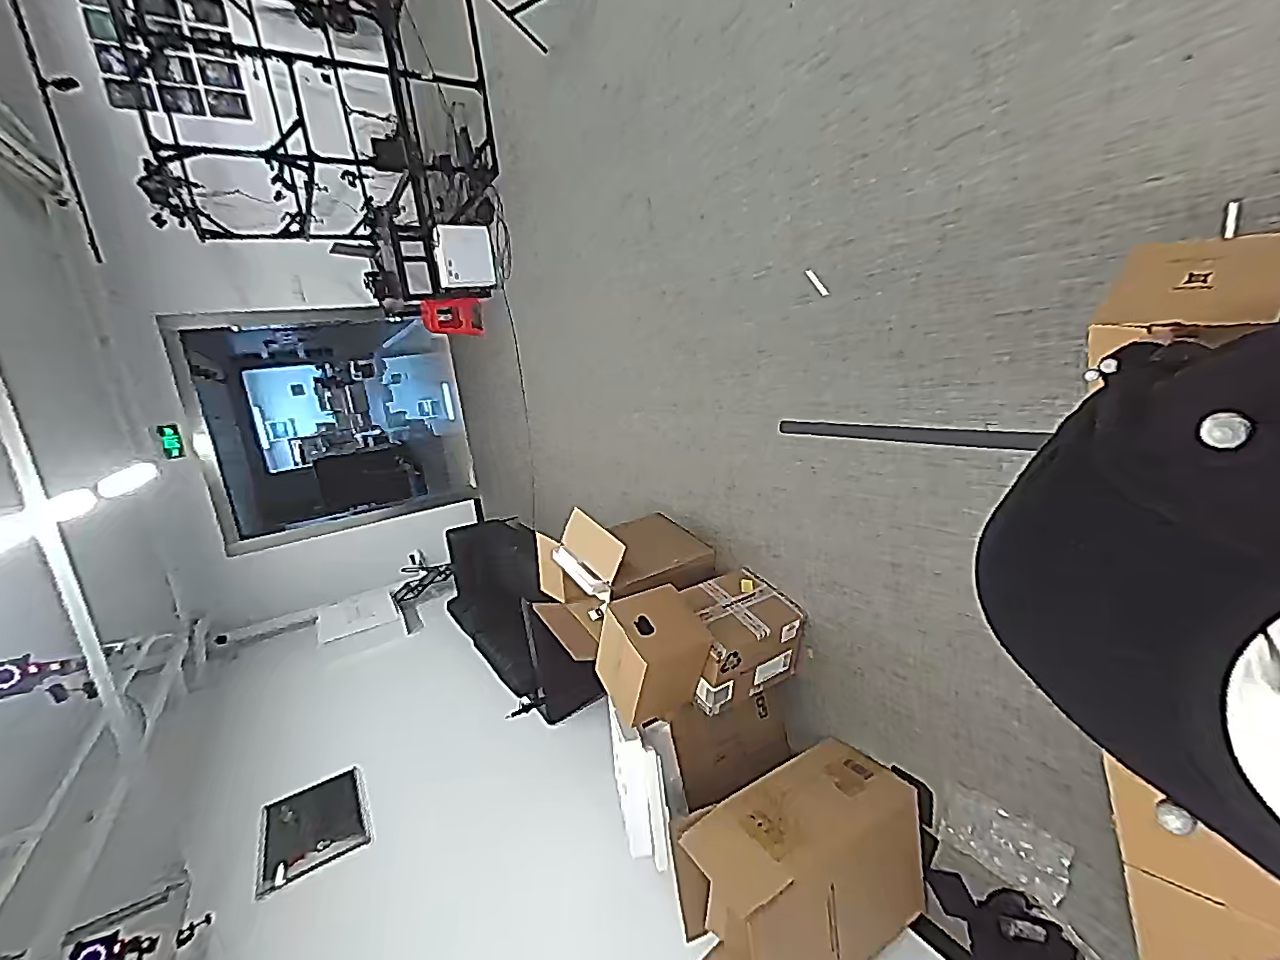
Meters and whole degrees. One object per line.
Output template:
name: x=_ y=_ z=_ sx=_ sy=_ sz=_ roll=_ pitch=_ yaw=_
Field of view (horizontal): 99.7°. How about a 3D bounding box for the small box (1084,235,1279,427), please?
small box: x=0.726 y=-0.192 z=0.719 sx=0.168 sy=0.179 sz=0.176 roll=19 pitch=153 yaw=49
